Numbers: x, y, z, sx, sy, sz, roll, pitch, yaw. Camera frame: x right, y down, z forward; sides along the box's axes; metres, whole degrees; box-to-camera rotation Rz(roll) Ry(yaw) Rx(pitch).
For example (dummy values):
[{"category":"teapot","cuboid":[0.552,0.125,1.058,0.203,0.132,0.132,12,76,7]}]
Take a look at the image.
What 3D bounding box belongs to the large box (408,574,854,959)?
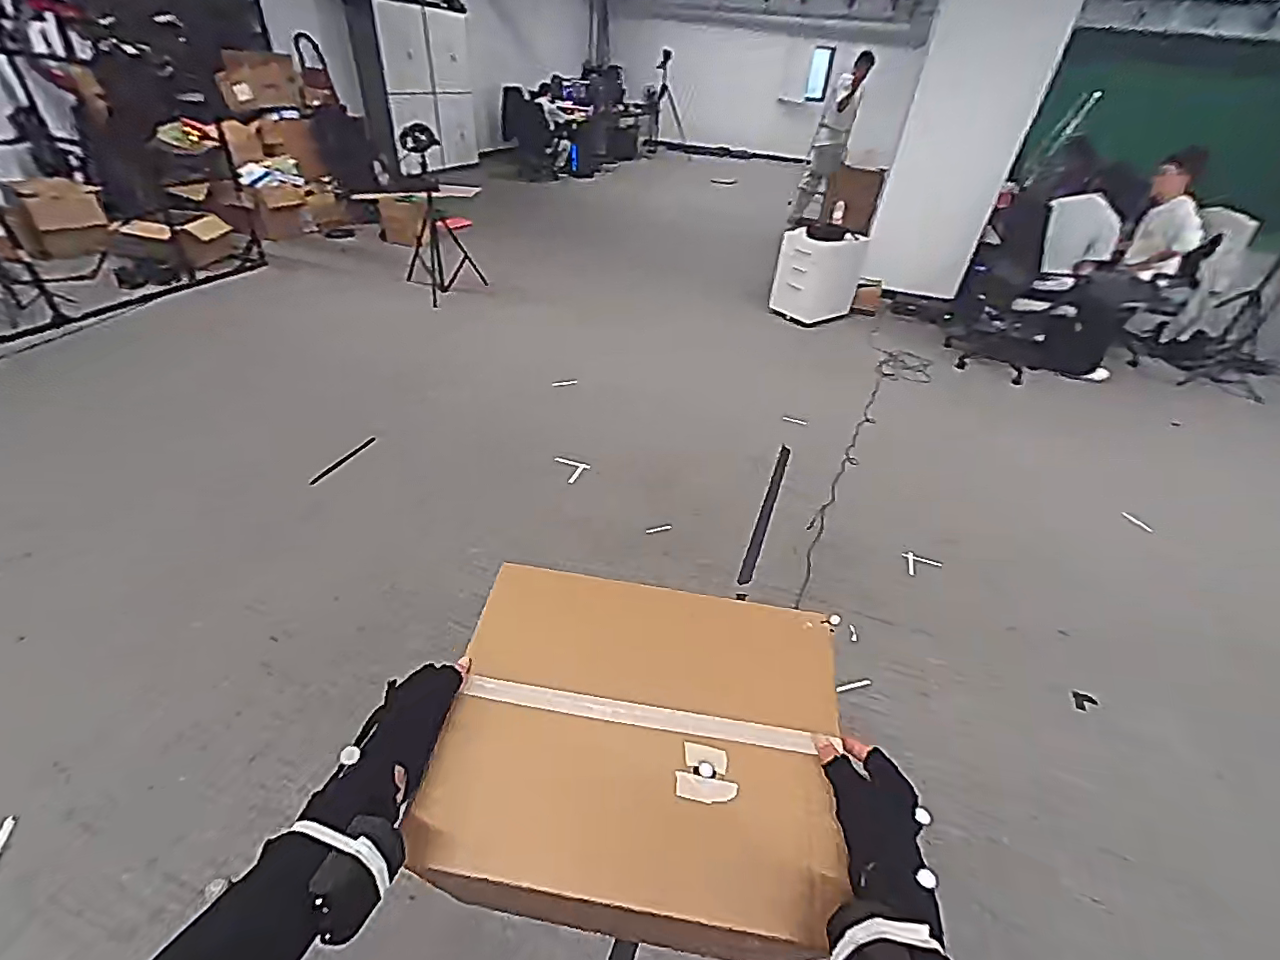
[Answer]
[{"category":"large box","cuboid":[-0.002,0.356,0.676,0.408,0.320,0.320,9,47,4]}]
